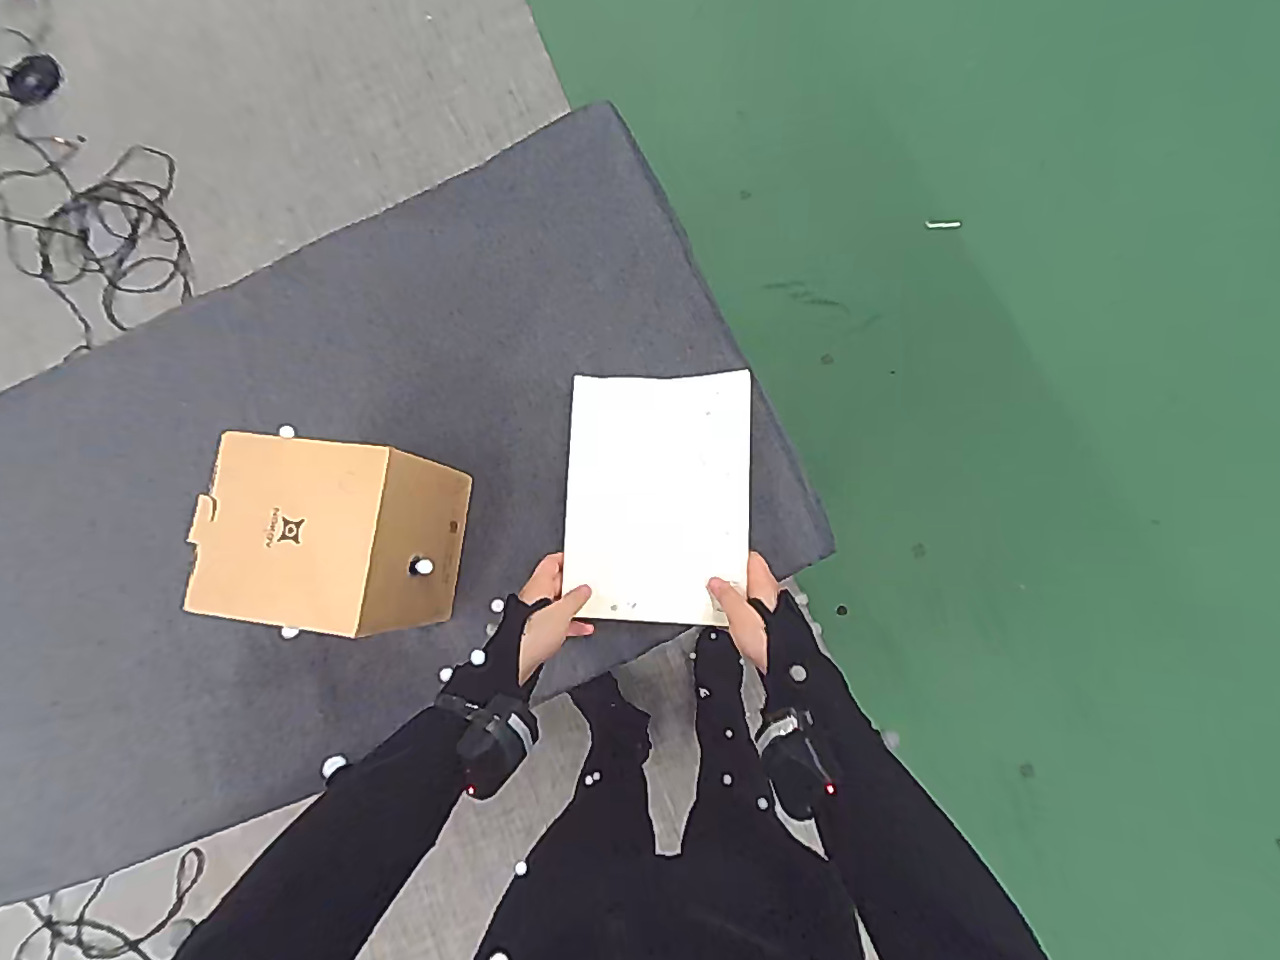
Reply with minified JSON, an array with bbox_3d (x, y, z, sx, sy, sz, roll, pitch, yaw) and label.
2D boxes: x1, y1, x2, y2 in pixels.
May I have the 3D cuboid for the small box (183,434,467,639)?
[{"bbox_3d":[-0.299,0.056,0.552,0.179,0.176,0.168,5,82,10],"label":"small box"}]
